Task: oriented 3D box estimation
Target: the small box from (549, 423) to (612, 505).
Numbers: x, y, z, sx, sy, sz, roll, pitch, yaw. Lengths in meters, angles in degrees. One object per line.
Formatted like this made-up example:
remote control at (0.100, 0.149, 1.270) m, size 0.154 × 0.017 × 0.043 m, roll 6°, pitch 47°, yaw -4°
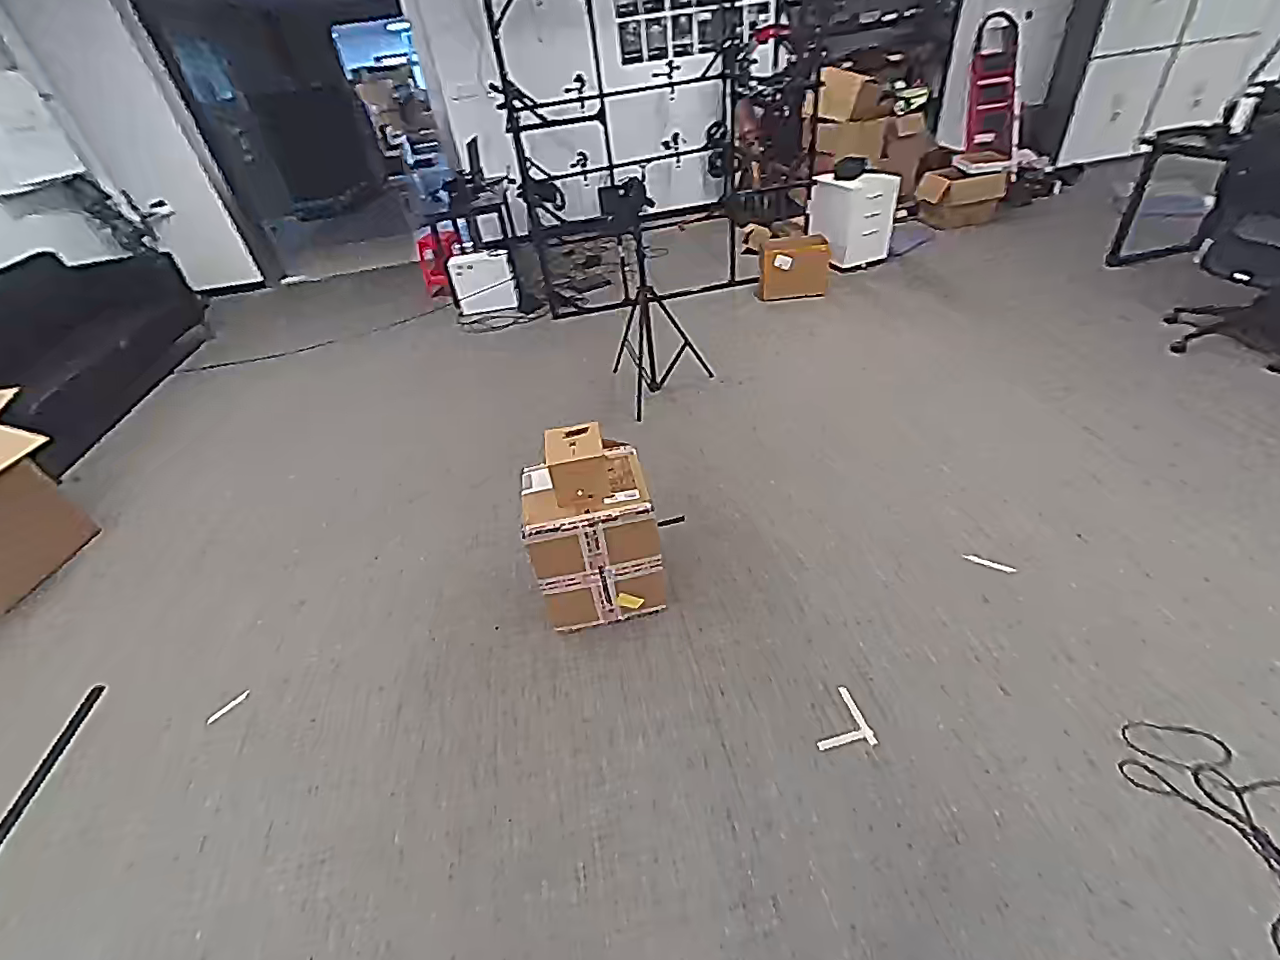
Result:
small box at (-0.181, -0.048, 1.645) m, size 0.168 × 0.176 × 0.179 m, roll -10°, pitch 42°, yaw -2°
